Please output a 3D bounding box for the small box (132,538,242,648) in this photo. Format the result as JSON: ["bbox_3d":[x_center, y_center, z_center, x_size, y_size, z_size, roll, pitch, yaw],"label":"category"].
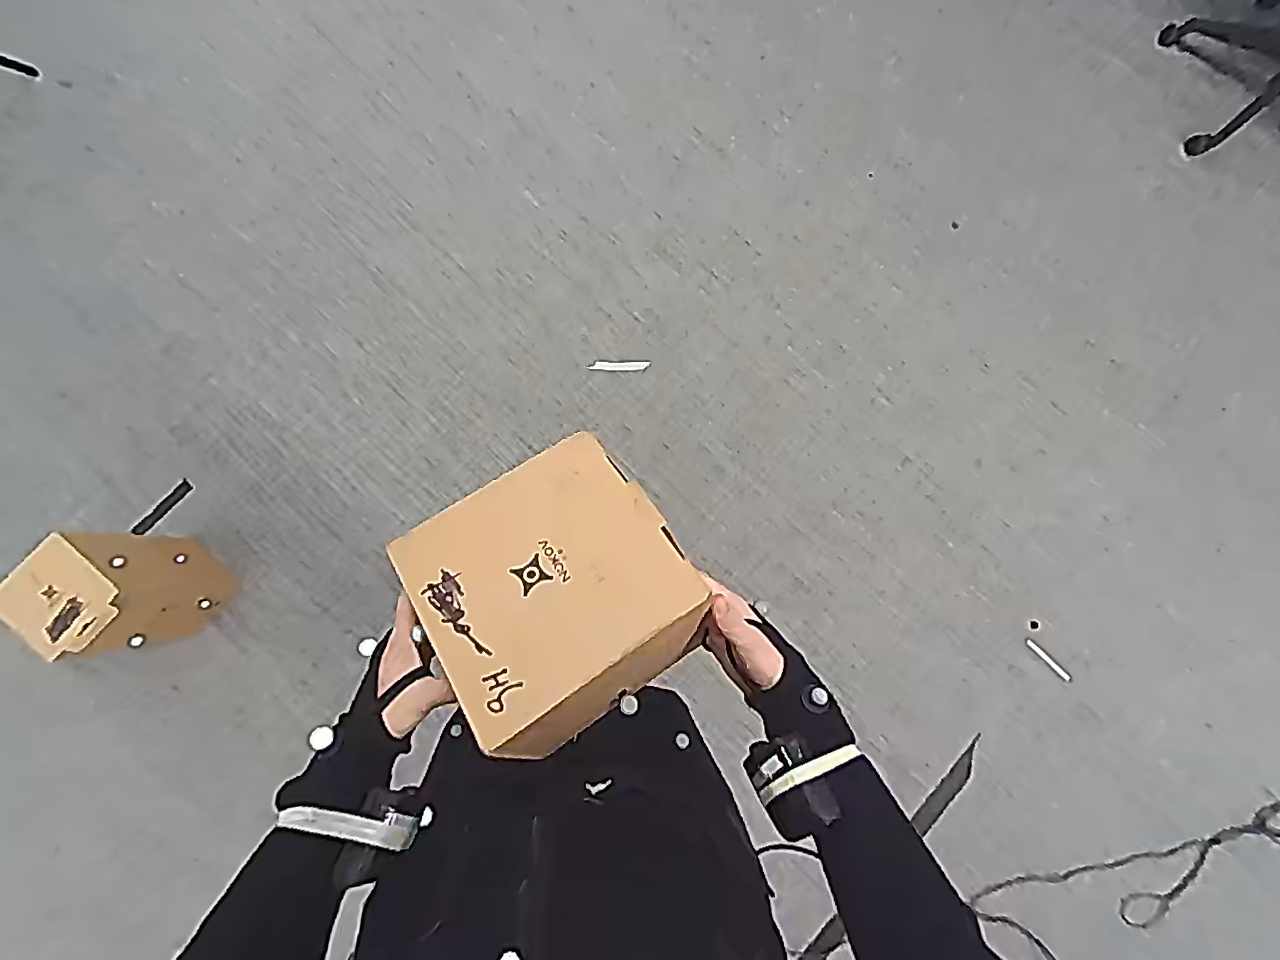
[{"bbox_3d":[-1.061,0.247,1.217,0.179,0.176,0.168,38,82,3],"label":"small box"}]

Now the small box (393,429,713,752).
[{"bbox_3d":[-0.062,0.096,0.448,0.179,0.176,0.168,-32,62,-15],"label":"small box"}]

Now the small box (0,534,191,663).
[{"bbox_3d":[-1.049,0.222,1.054,0.179,0.176,0.168,39,82,3],"label":"small box"}]
